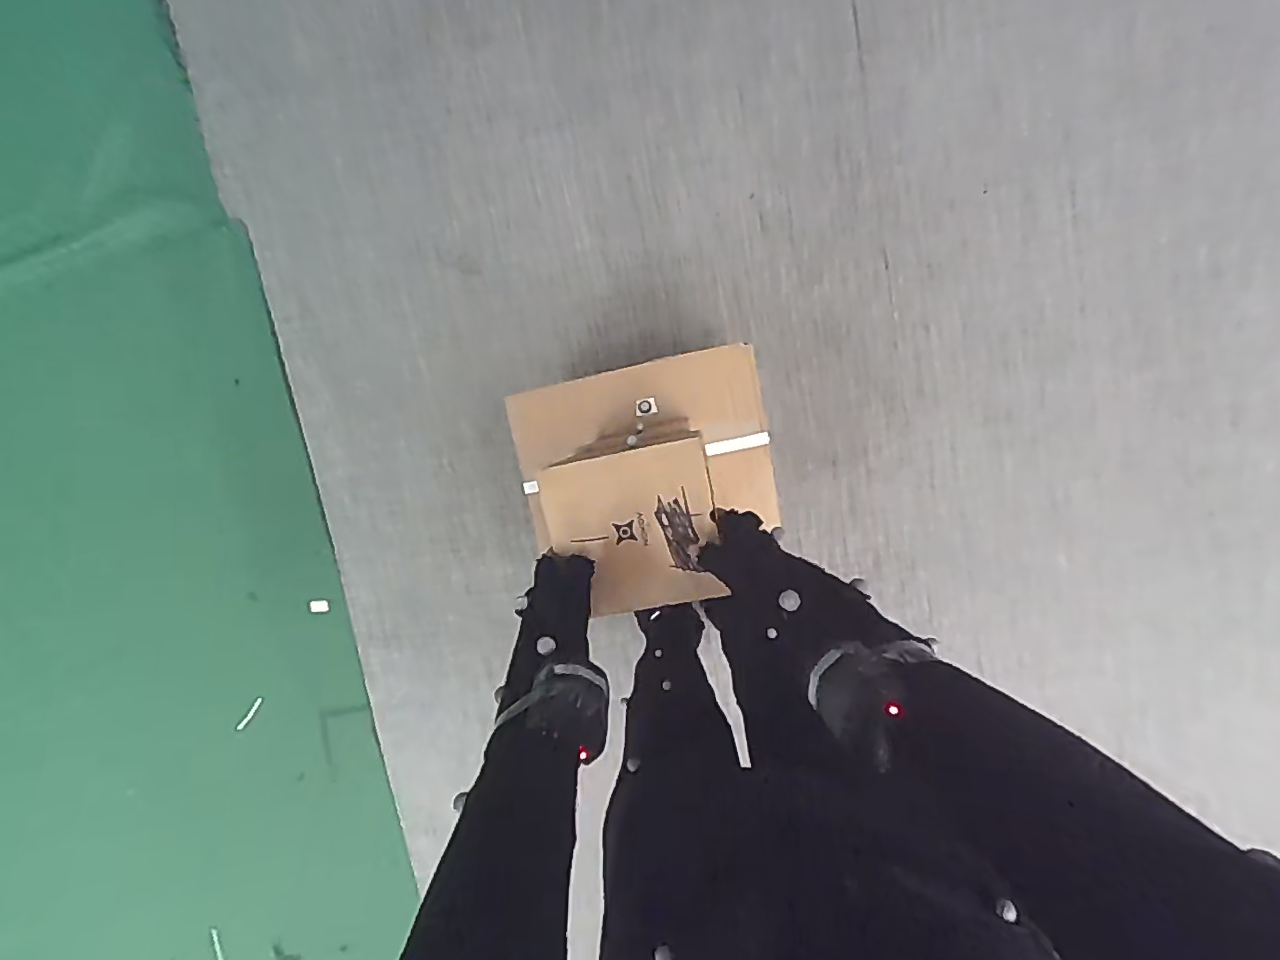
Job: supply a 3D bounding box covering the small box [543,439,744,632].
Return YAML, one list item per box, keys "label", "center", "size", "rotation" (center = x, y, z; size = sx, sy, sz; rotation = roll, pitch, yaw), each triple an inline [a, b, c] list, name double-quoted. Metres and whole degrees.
- label: "small box"
  center: [0.009, 0.052, 0.628]
  size: [0.179, 0.176, 0.168]
  rotation: [-15, 95, 7]

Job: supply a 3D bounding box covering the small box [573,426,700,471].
- label: "small box"
  center: [0.019, 0.025, 0.796]
  size: [0.168, 0.176, 0.179]
  rotation: [-13, 97, 9]
